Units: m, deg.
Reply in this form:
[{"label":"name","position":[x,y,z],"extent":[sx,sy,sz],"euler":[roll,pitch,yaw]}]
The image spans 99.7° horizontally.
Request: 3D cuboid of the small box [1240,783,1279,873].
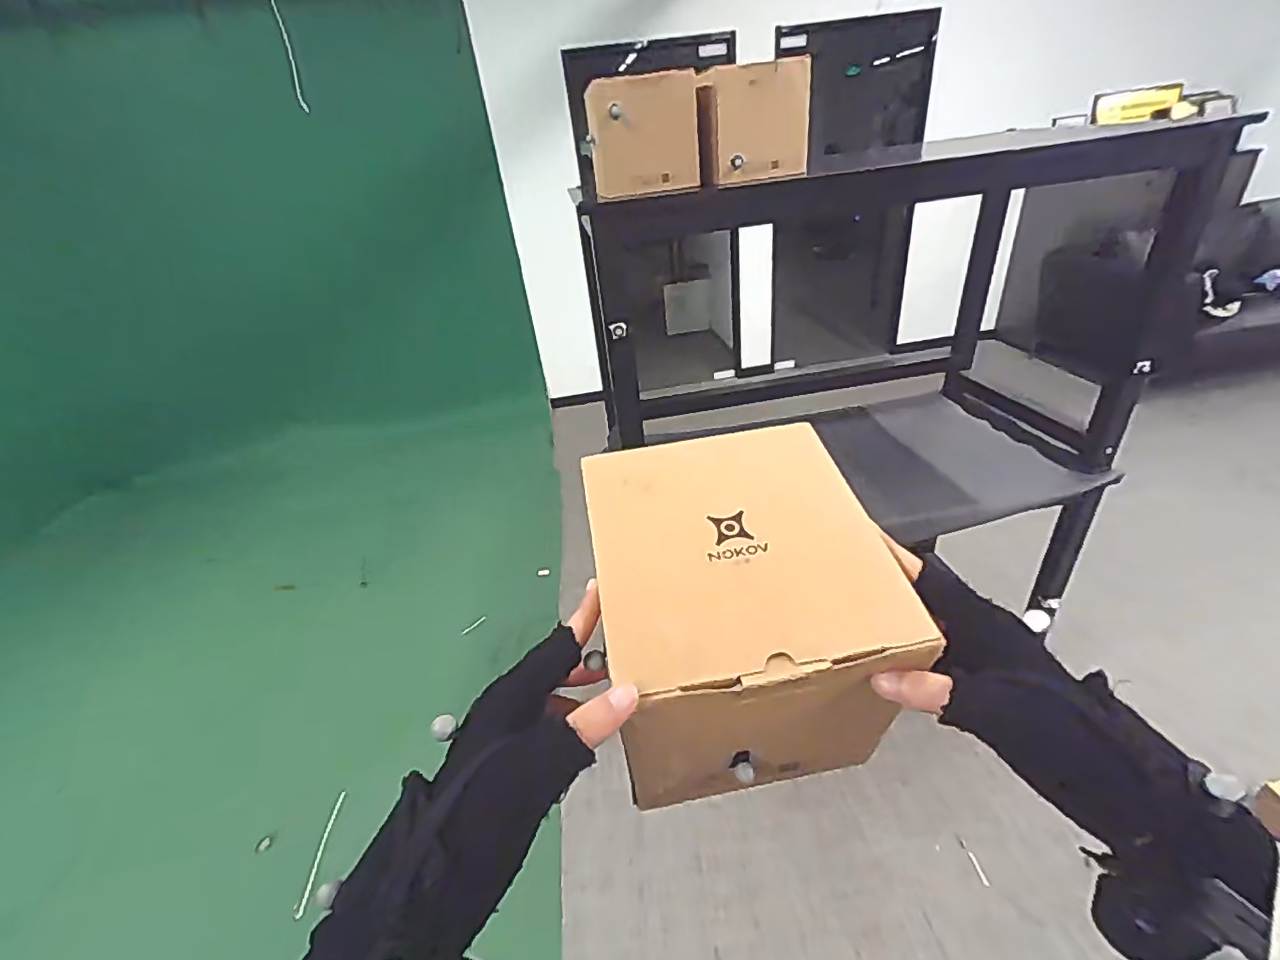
[{"label":"small box","position":[1.504,0.786,1.183],"extent":[0.179,0.176,0.168],"euler":[-7,30,2]}]
